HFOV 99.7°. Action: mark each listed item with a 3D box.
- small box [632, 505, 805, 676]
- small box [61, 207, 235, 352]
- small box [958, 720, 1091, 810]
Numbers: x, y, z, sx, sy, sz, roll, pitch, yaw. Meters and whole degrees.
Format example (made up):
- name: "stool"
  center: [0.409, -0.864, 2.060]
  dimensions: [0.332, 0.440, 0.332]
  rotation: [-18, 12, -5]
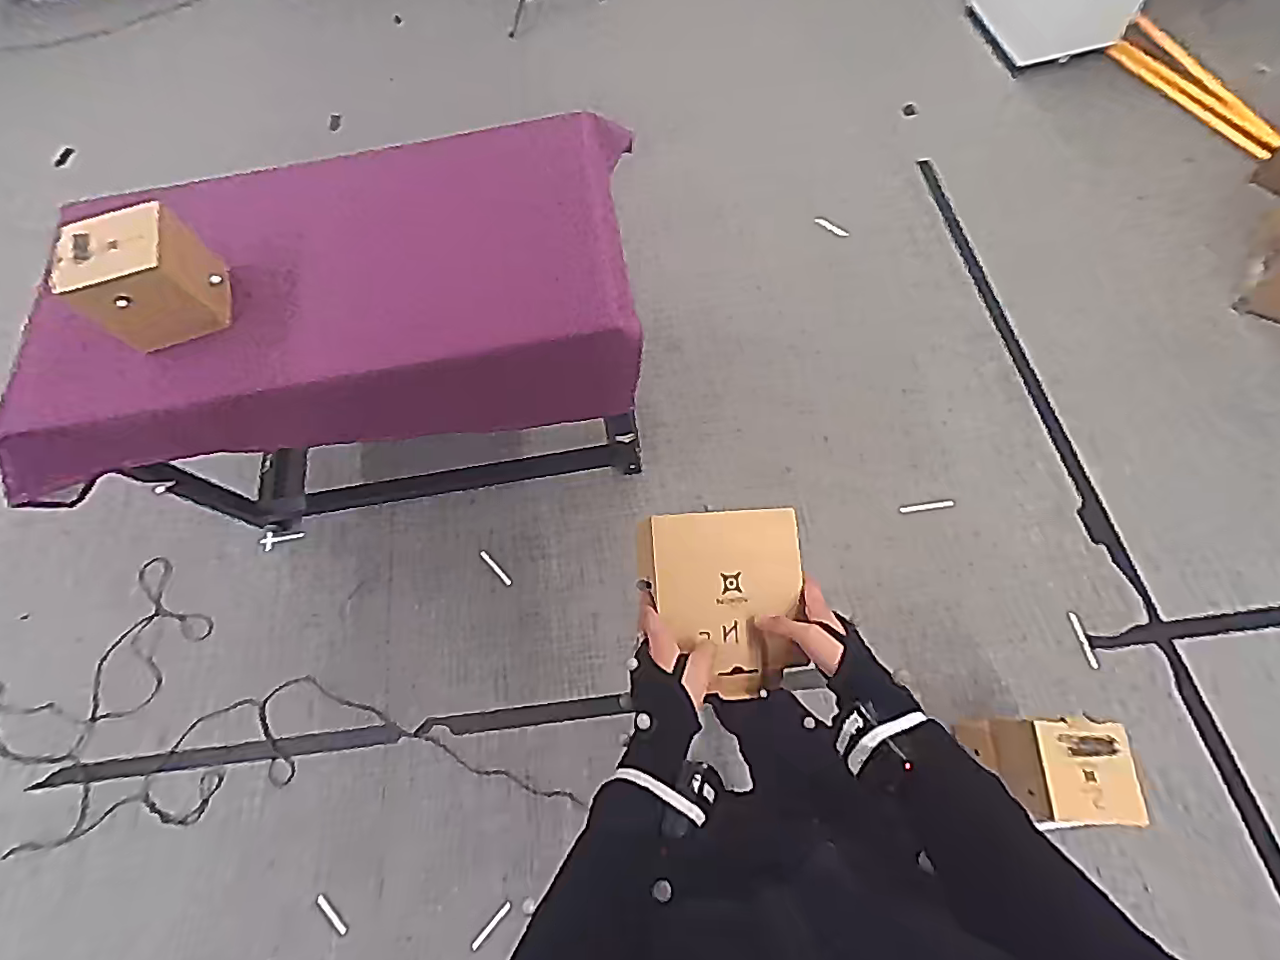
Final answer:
- name: "small box"
  center: [0.083, 0.129, 0.665]
  dimensions: [0.168, 0.176, 0.179]
  rotation: [-3, 83, -7]
- name: "small box"
  center: [-0.913, -0.369, 1.019]
  dimensions: [0.179, 0.176, 0.168]
  rotation: [-18, 68, -3]
- name: "small box"
  center: [0.864, 0.648, 1.242]
  dimensions: [0.179, 0.176, 0.168]
  rotation: [-5, 68, 3]
